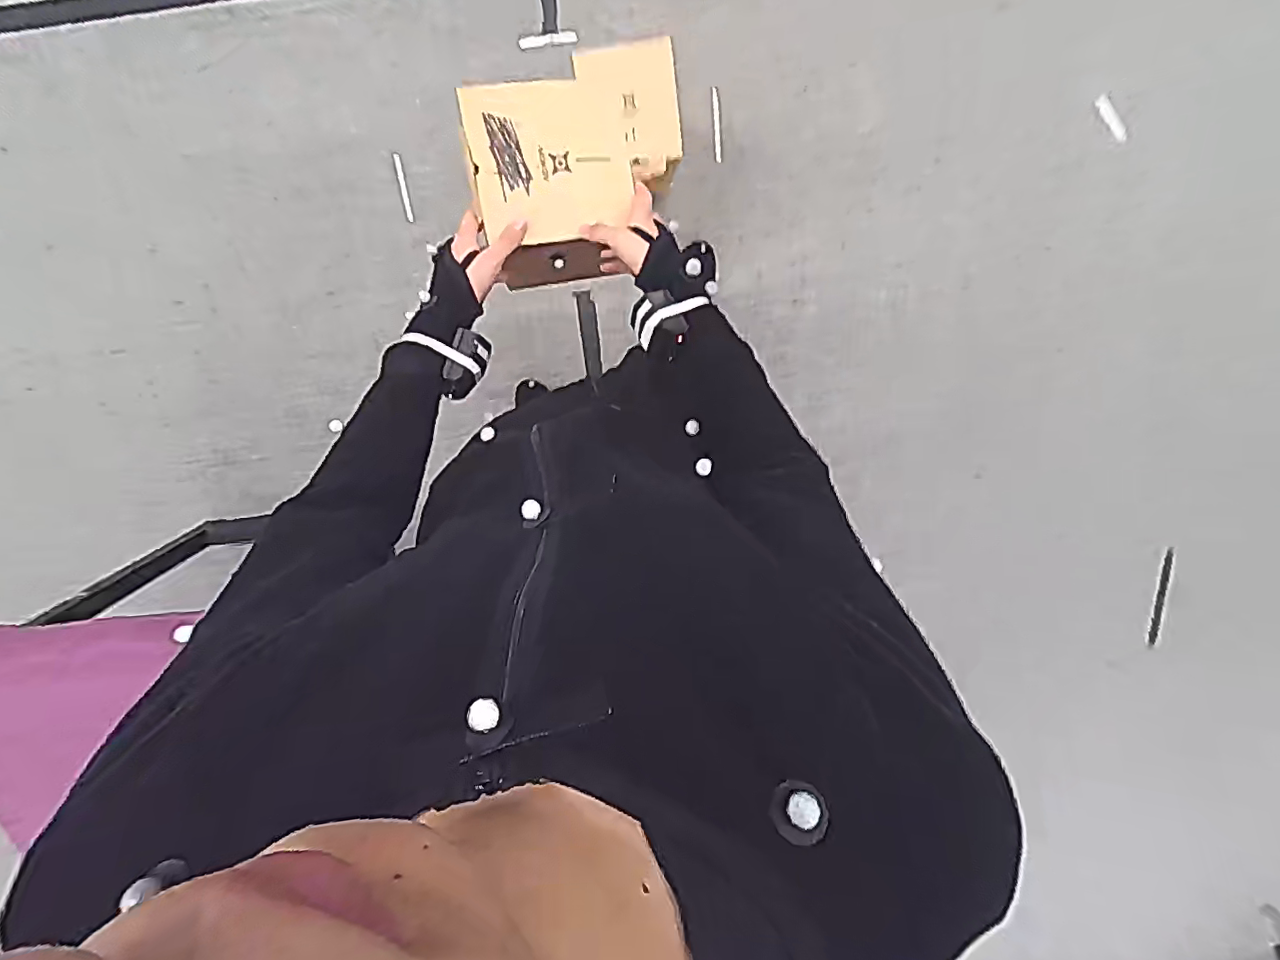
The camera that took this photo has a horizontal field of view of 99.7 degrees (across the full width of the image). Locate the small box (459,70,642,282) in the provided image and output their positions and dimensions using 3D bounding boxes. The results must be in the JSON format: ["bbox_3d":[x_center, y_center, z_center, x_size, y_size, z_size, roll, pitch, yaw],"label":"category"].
[{"bbox_3d":[-0.103,-0.357,0.668,0.179,0.176,0.168,-11,97,-5],"label":"small box"}]

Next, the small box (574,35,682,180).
[{"bbox_3d":[-0.024,-0.654,0.974,0.168,0.176,0.179,-8,110,-1],"label":"small box"}]

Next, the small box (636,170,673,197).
[{"bbox_3d":[-0.019,-0.774,1.283,0.168,0.176,0.179,-11,109,1],"label":"small box"}]
